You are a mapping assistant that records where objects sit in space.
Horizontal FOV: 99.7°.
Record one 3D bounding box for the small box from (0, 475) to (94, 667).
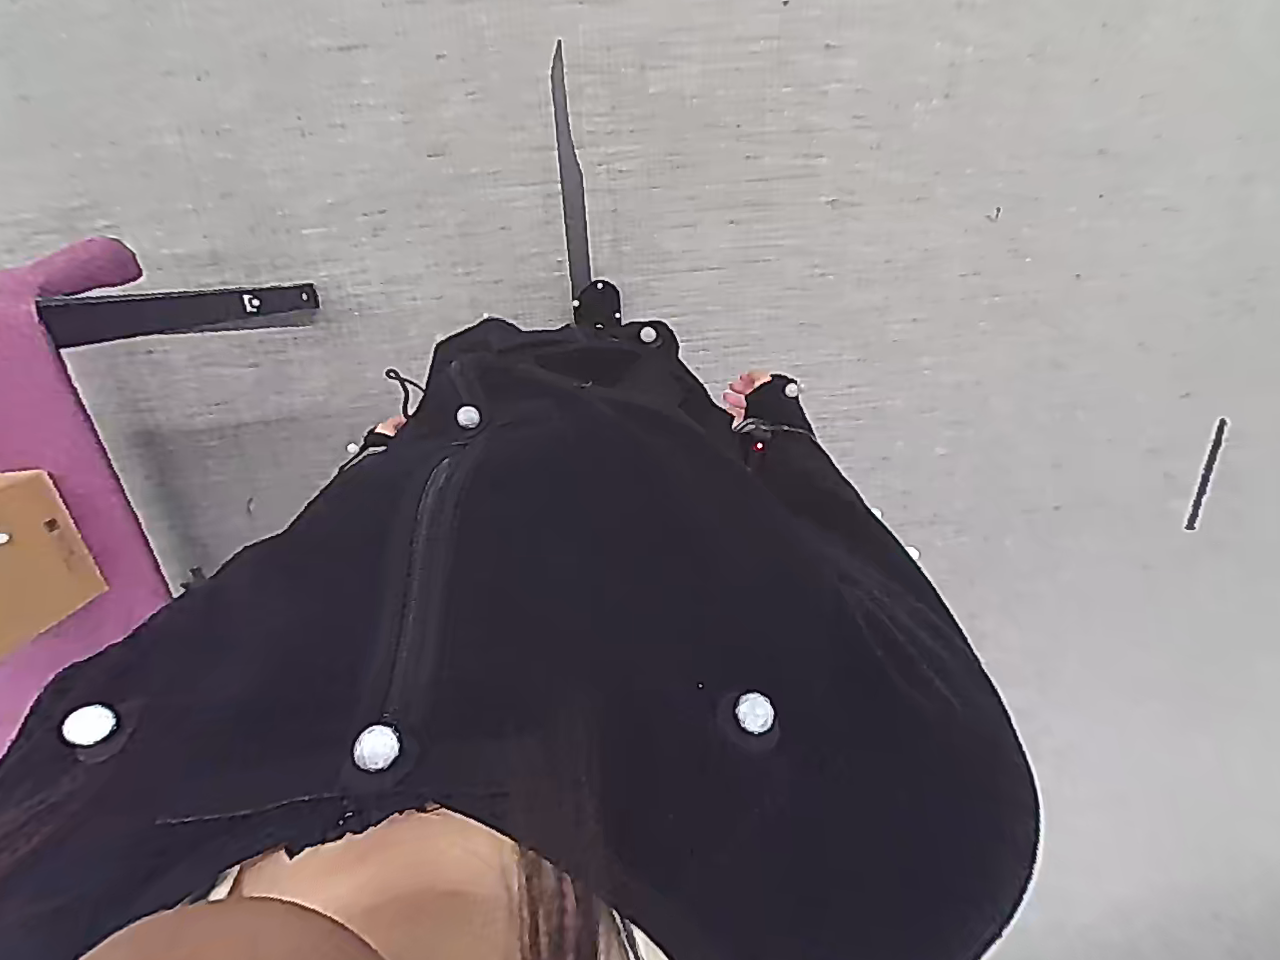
[{"bbox_3d":[-0.750,0.103,0.573,0.179,0.176,0.168,-6,112,-3],"label":"small box"}]
